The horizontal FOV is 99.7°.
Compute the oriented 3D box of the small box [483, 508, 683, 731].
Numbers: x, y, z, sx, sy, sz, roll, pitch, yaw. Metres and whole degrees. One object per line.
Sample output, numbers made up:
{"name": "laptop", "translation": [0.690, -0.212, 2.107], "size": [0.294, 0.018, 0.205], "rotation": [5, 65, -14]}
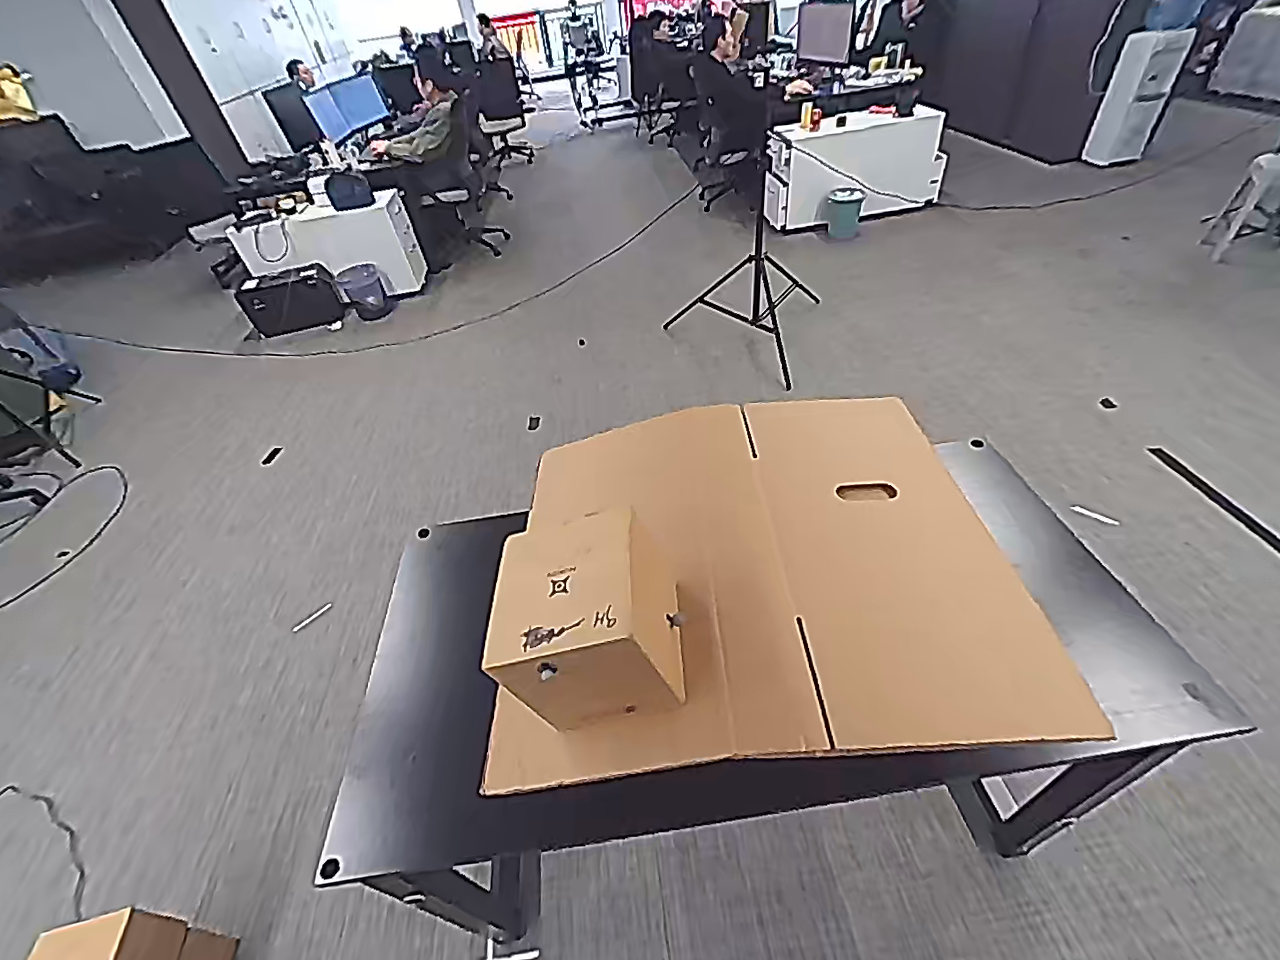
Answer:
{"name": "small box", "translation": [-0.055, 0.166, 0.637], "size": [0.168, 0.176, 0.179], "rotation": [-17, 41, 13]}

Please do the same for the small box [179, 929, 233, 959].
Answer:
{"name": "small box", "translation": [-0.998, 1.076, 1.124], "size": [0.168, 0.176, 0.179], "rotation": [-12, 44, -3]}

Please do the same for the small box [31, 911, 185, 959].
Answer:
{"name": "small box", "translation": [-1.018, 0.955, 1.018], "size": [0.168, 0.176, 0.179], "rotation": [-13, 42, -6]}
